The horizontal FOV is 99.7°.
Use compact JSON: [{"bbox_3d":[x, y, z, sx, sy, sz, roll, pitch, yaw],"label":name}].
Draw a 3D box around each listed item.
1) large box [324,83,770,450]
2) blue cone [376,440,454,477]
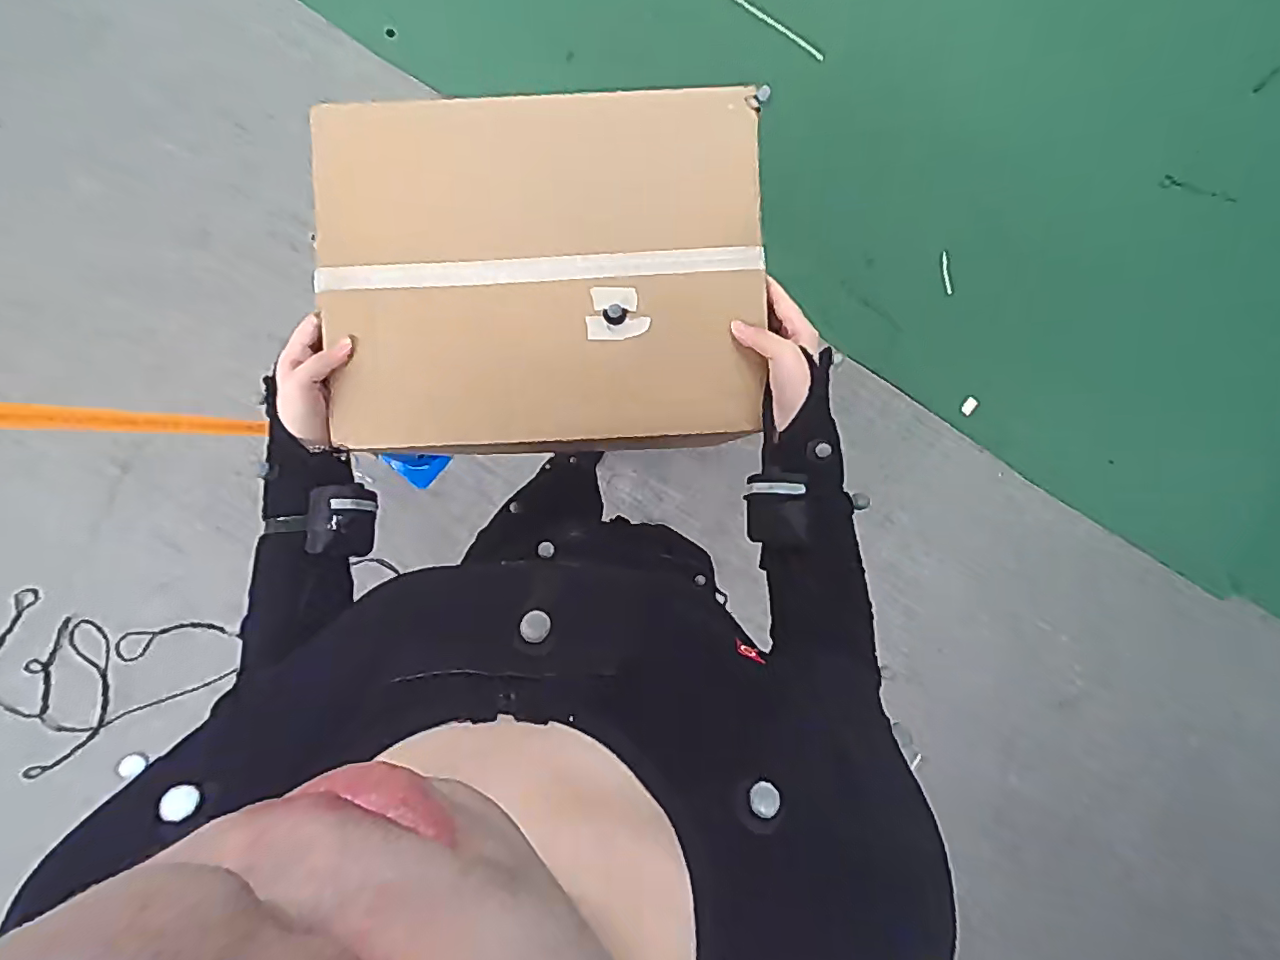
[{"bbox_3d":[-0.089,-0.207,0.650,0.408,0.320,0.320,-3,92,-1],"label":"large box"},{"bbox_3d":[-0.601,-0.118,1.320,0.193,0.380,0.192,42,90,-2],"label":"blue cone"}]
